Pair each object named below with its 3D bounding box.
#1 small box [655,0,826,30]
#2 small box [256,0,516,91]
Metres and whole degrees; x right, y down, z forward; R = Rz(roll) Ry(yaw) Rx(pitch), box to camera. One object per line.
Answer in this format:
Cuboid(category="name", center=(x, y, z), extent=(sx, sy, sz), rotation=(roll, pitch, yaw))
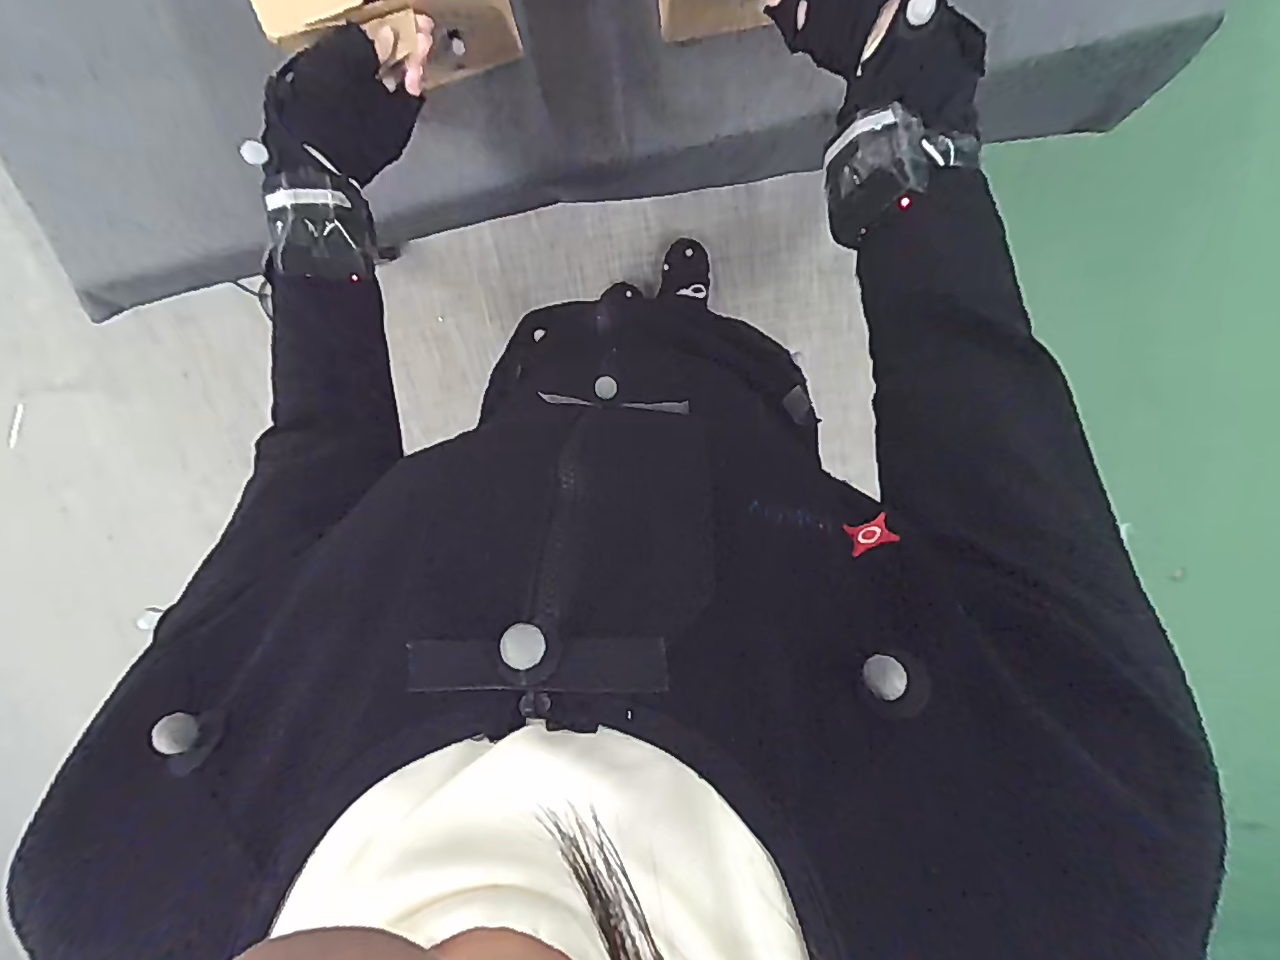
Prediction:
Cuboid(category="small box", center=(0.088, -0.487, 0.416), extent=(0.168, 0.176, 0.179), rotation=(-9, 111, 2))
Cuboid(category="small box", center=(-0.213, -0.445, 0.431), extent=(0.168, 0.176, 0.179), rotation=(-16, 109, 3))
